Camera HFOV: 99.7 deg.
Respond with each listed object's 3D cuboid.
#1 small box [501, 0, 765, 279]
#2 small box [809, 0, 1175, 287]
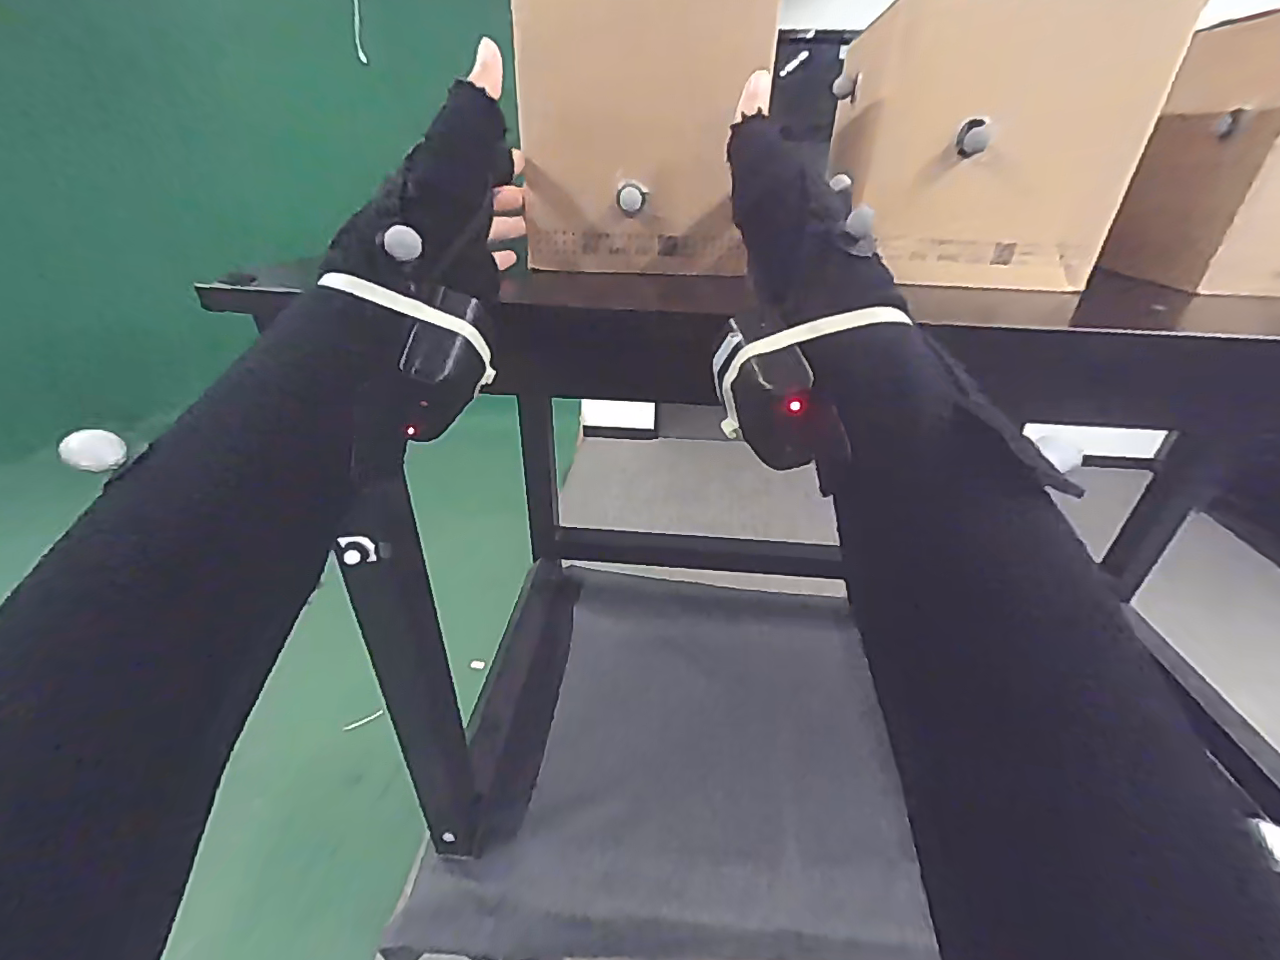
[{"bbox_3d":[-0.005,-0.268,0.435,0.168,0.176,0.179,2,31,1],"label":"small box"},{"bbox_3d":[0.235,-0.252,0.419,0.168,0.176,0.179,4,30,7],"label":"small box"}]
